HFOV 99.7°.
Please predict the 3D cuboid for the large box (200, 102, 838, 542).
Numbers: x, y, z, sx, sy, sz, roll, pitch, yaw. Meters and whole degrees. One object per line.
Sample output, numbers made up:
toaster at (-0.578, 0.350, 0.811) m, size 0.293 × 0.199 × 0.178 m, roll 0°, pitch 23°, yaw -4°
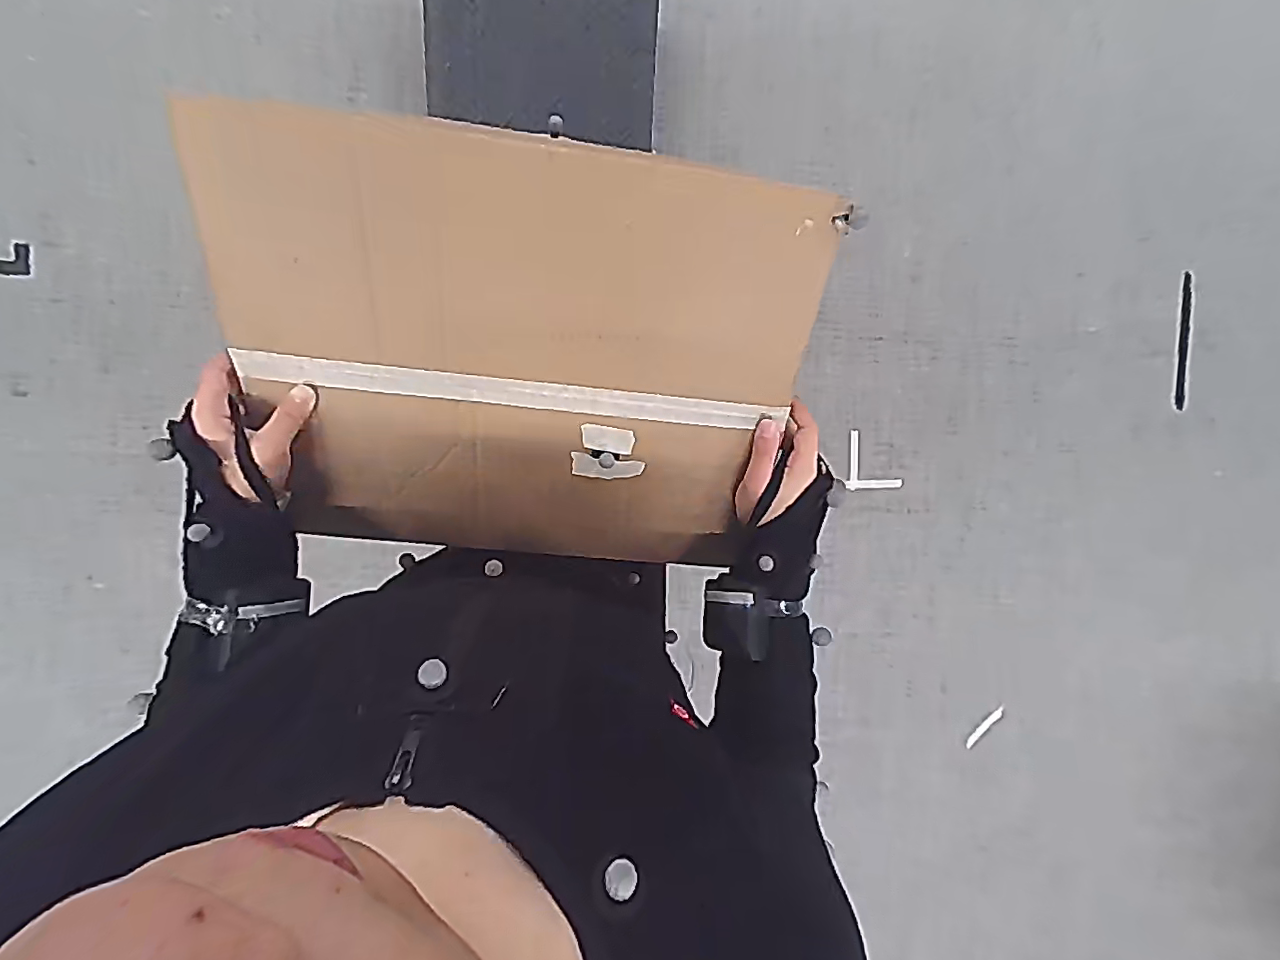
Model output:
large box at (-0.090, -0.160, 0.540) m, size 0.408 × 0.320 × 0.320 m, roll 4°, pitch 124°, yaw -7°
